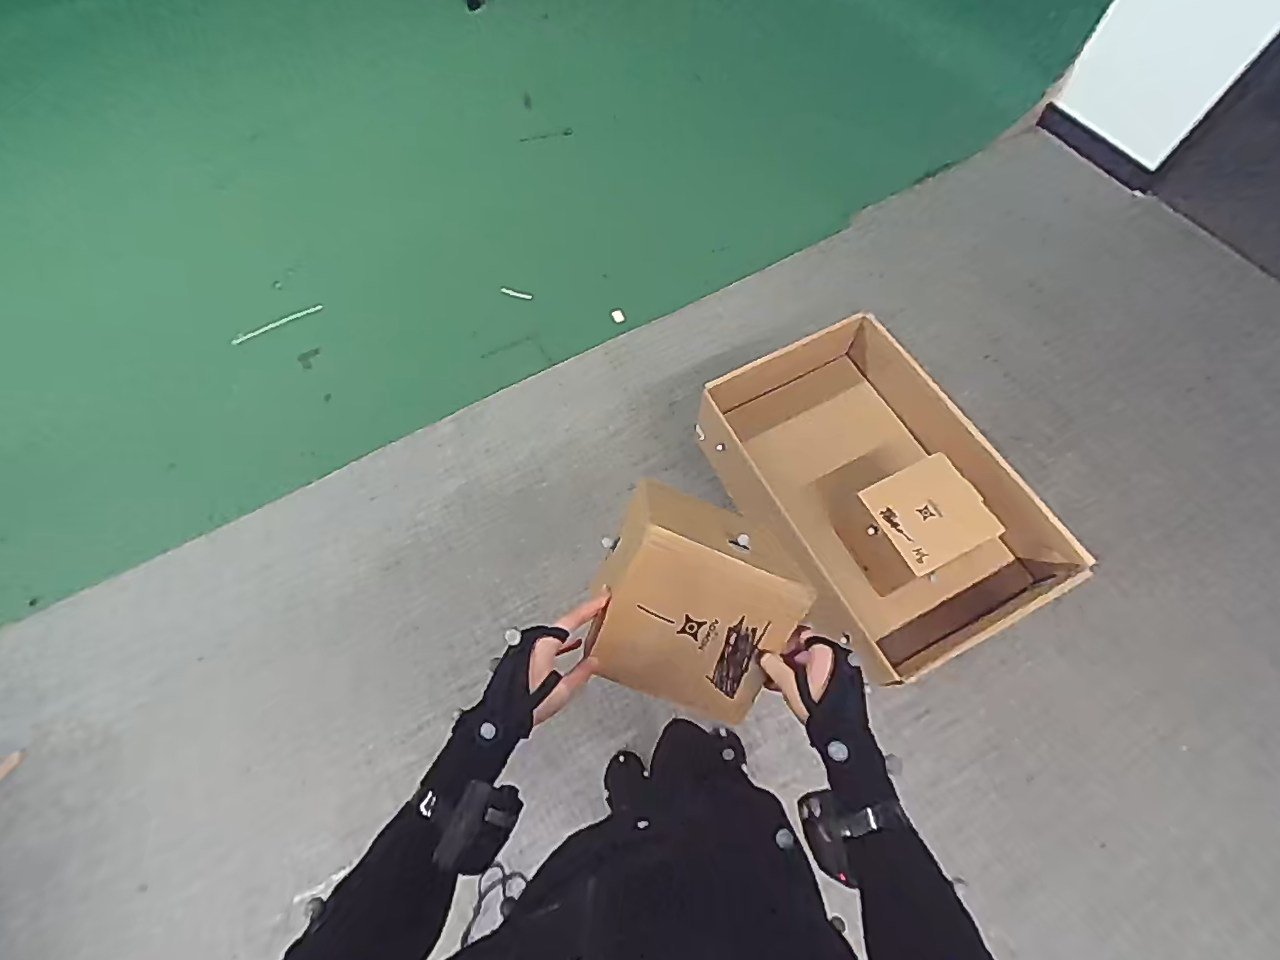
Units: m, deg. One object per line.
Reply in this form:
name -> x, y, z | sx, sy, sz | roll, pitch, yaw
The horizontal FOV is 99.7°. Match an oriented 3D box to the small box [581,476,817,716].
small box -> 0.052, 0.112, 0.588 | 0.179, 0.176, 0.168 | 24, 103, -8

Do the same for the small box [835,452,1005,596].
small box -> 0.480, 0.083, 0.958 | 0.179, 0.176, 0.168 | -24, 65, -8
